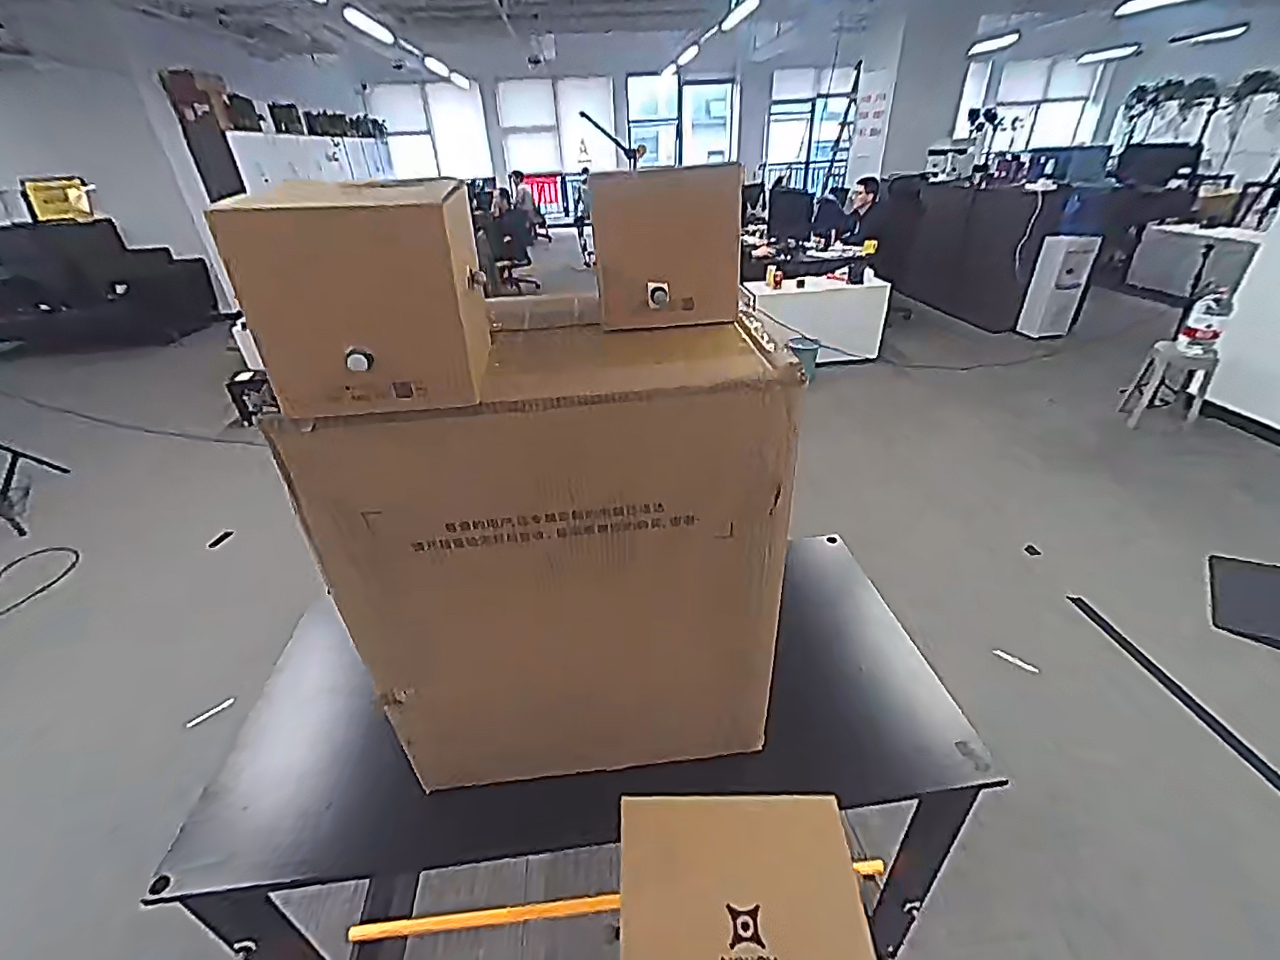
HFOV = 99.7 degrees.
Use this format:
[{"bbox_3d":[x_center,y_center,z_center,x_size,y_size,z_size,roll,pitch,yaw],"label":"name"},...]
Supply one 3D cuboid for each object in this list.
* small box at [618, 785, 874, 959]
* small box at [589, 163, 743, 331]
[{"bbox_3d":[0.067,0.355,0.406,0.168,0.176,0.179,-1,41,0],"label":"small box"},{"bbox_3d":[0.028,-0.292,0.676,0.168,0.176,0.179,-6,31,-1],"label":"small box"}]
